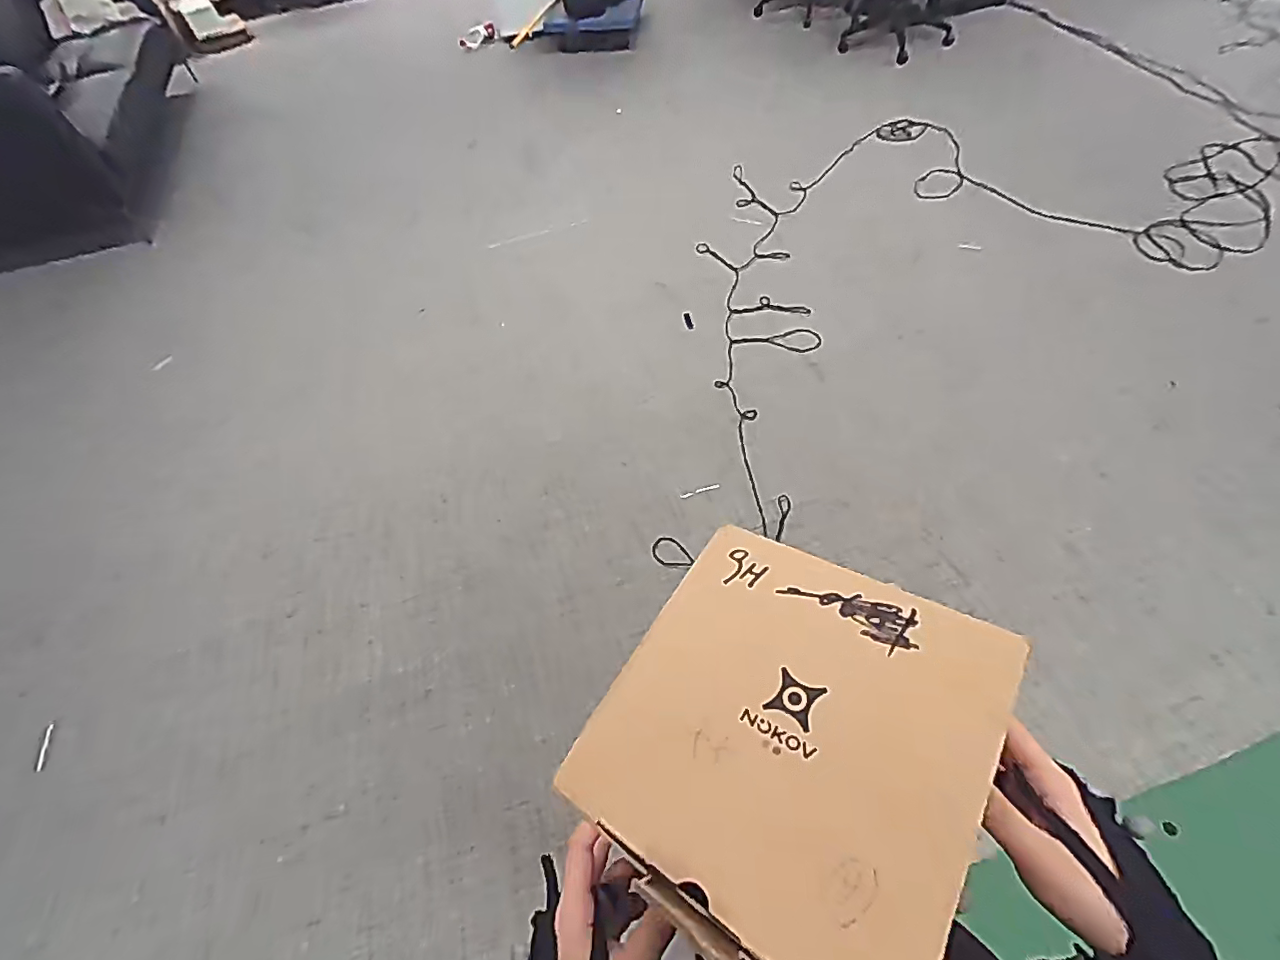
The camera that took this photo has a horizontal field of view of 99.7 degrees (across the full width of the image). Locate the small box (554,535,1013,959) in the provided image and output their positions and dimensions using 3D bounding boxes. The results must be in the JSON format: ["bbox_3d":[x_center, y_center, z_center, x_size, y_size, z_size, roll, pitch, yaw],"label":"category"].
[{"bbox_3d":[0.087,0.170,0.319,0.168,0.176,0.179,20,59,32],"label":"small box"}]
